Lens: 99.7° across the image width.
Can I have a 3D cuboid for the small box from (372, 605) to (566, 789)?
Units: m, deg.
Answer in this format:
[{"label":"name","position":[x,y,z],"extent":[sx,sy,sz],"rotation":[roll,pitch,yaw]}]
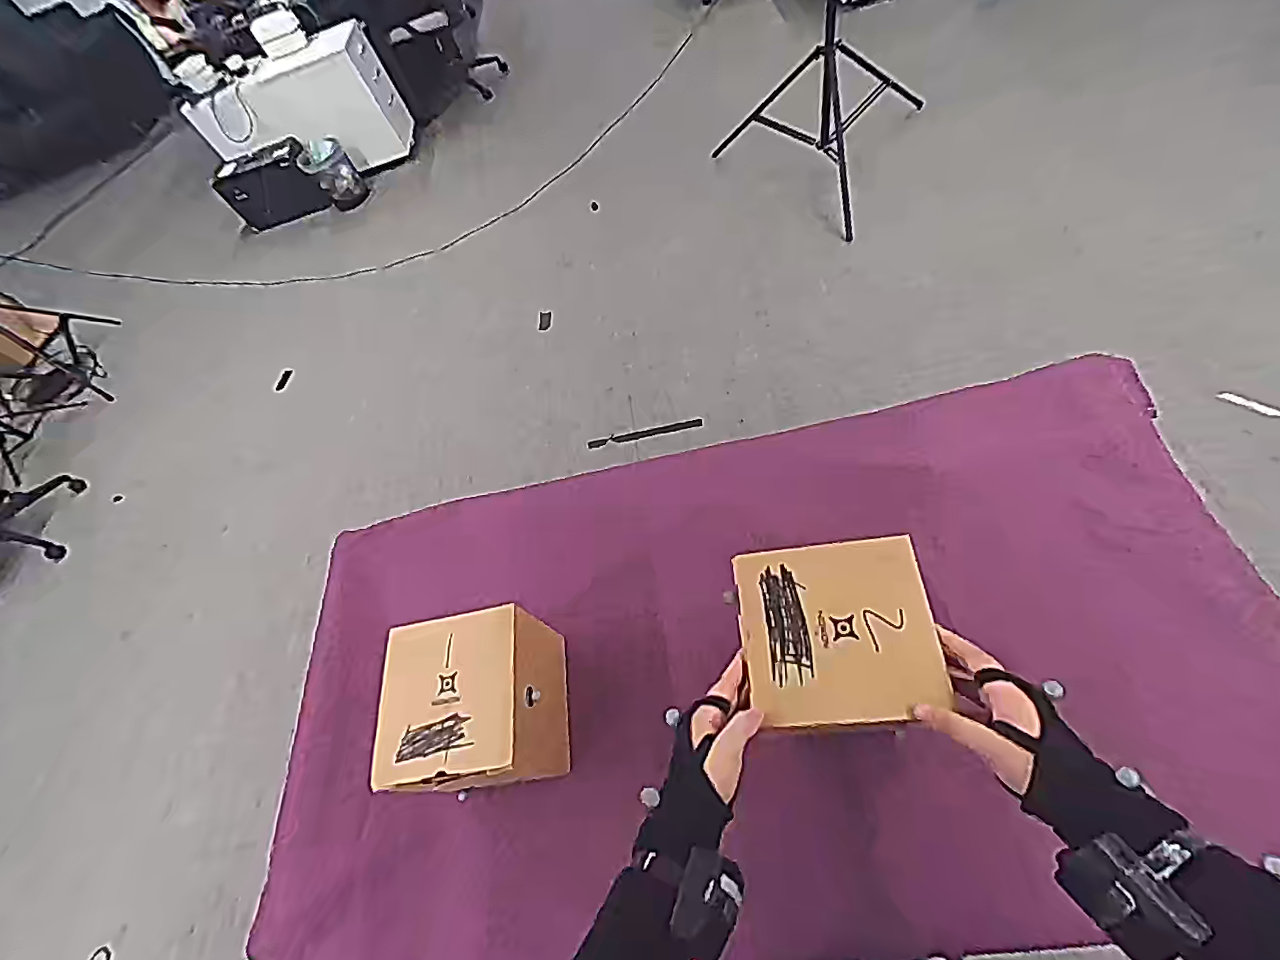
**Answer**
[{"label":"small box","position":[-0.196,0.275,0.671],"extent":[0.168,0.176,0.179],"rotation":[-13,57,8]}]
